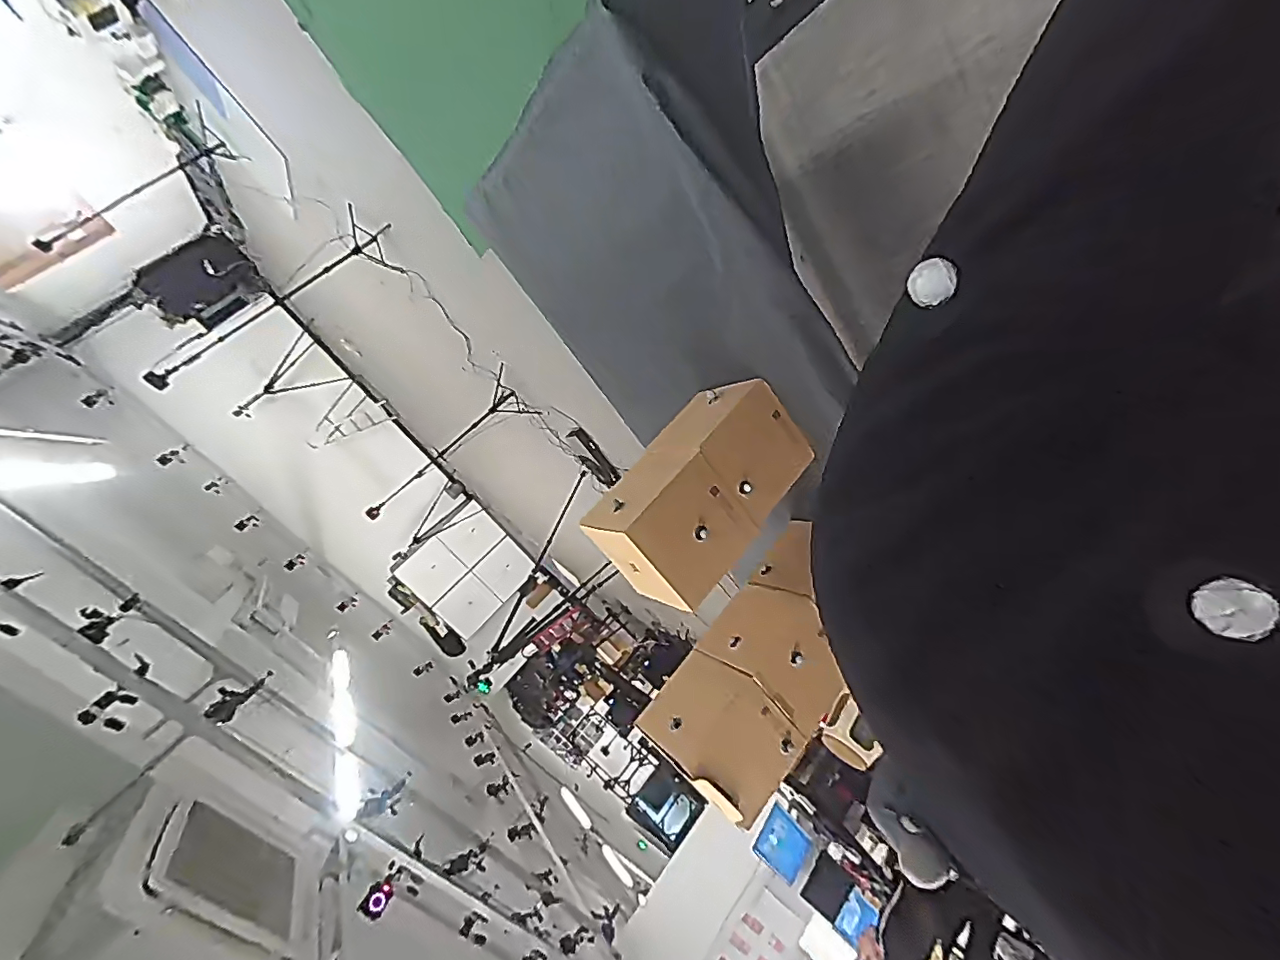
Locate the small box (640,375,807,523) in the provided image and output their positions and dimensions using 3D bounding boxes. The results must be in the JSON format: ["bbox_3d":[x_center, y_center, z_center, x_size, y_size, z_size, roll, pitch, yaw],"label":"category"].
[{"bbox_3d":[0.138,-0.052,0.897,0.168,0.176,0.179,50,159,-19],"label":"small box"}]

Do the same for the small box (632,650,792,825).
[{"bbox_3d":[0.124,0.408,0.891,0.168,0.176,0.179,50,160,-15],"label":"small box"}]

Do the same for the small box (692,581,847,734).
[{"bbox_3d":[0.231,0.296,0.946,0.168,0.176,0.179,50,160,-16],"label":"small box"}]

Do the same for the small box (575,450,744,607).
[{"bbox_3d":[0.036,0.067,0.840,0.168,0.176,0.179,51,158,-19],"label":"small box"}]

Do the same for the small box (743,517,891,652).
[{"bbox_3d":[0.333,0.183,1.003,0.168,0.176,0.179,50,159,-17],"label":"small box"}]
